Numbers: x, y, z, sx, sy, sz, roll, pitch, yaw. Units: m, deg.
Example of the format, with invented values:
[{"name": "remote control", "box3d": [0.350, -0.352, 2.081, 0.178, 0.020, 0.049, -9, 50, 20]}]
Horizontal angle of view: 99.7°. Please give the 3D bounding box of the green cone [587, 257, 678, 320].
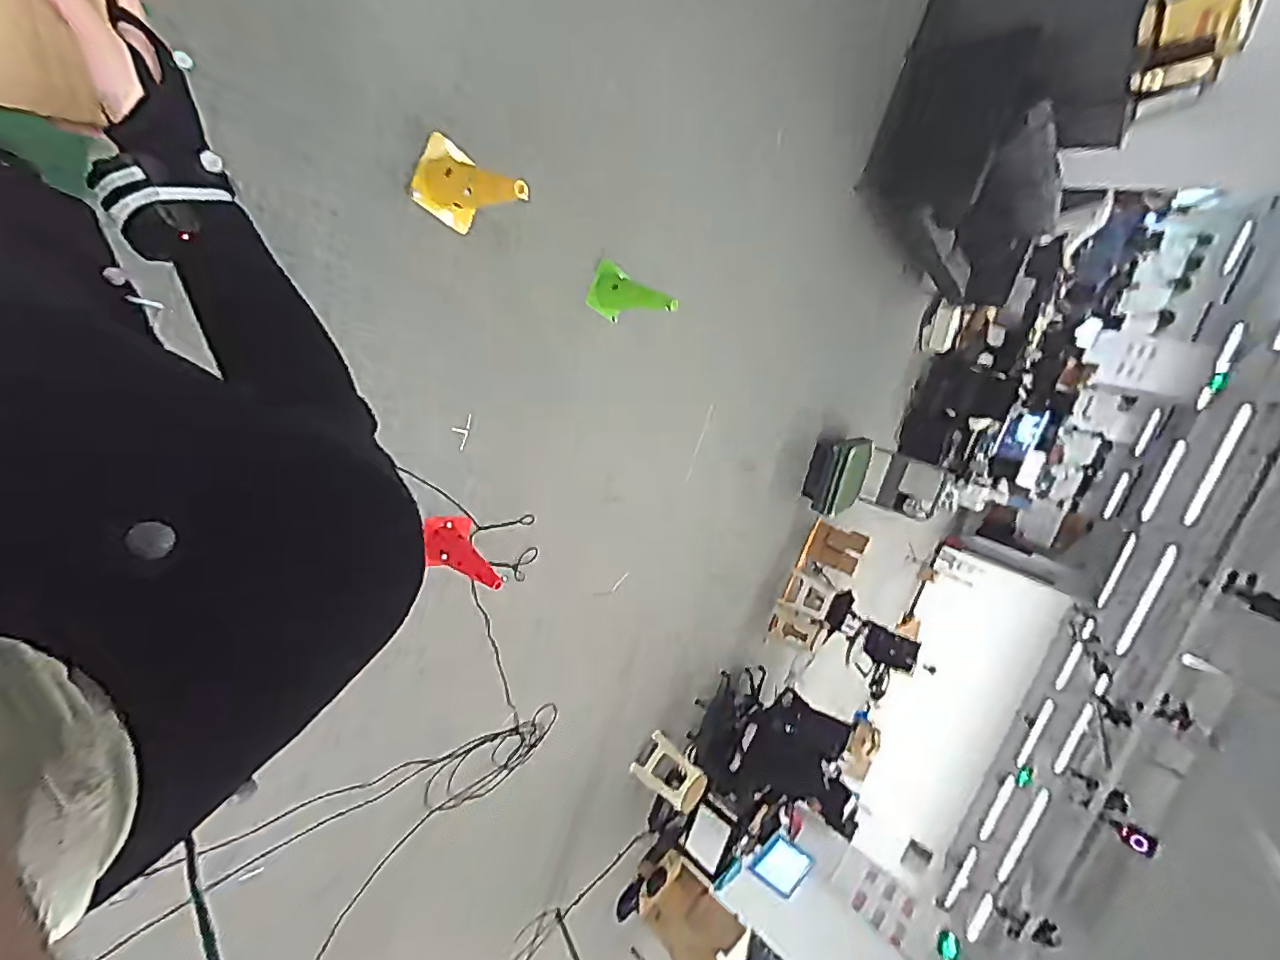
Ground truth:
[{"name": "green cone", "box3d": [0.004, -0.717, 2.096, 0.202, 0.368, 0.200, 14, 99, -52]}]
